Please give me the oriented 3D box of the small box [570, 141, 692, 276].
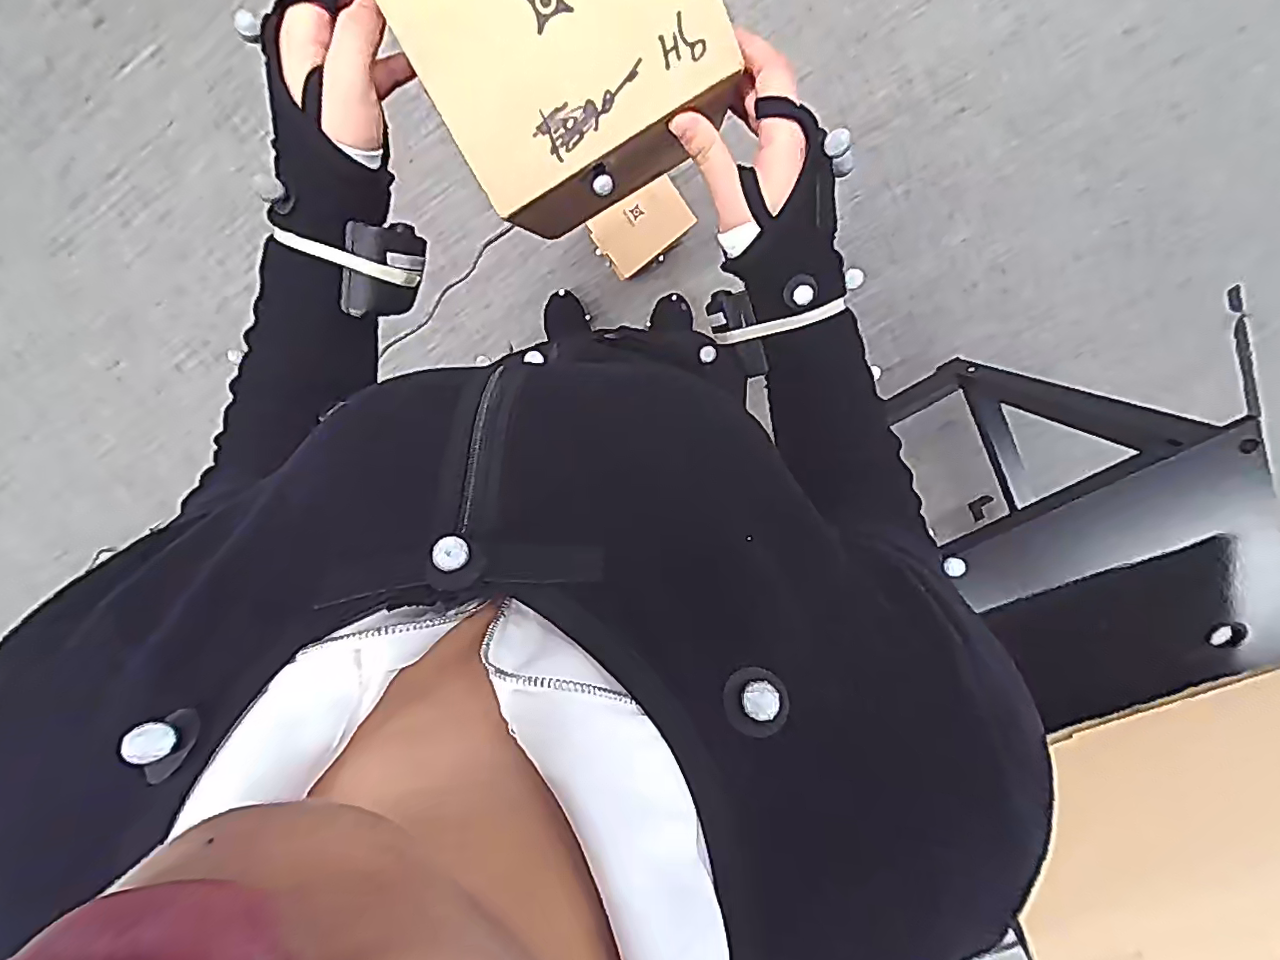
[{"bbox_3d":[-0.017,-0.530,1.087,0.179,0.176,0.168,-36,107,11],"label":"small box"}]
